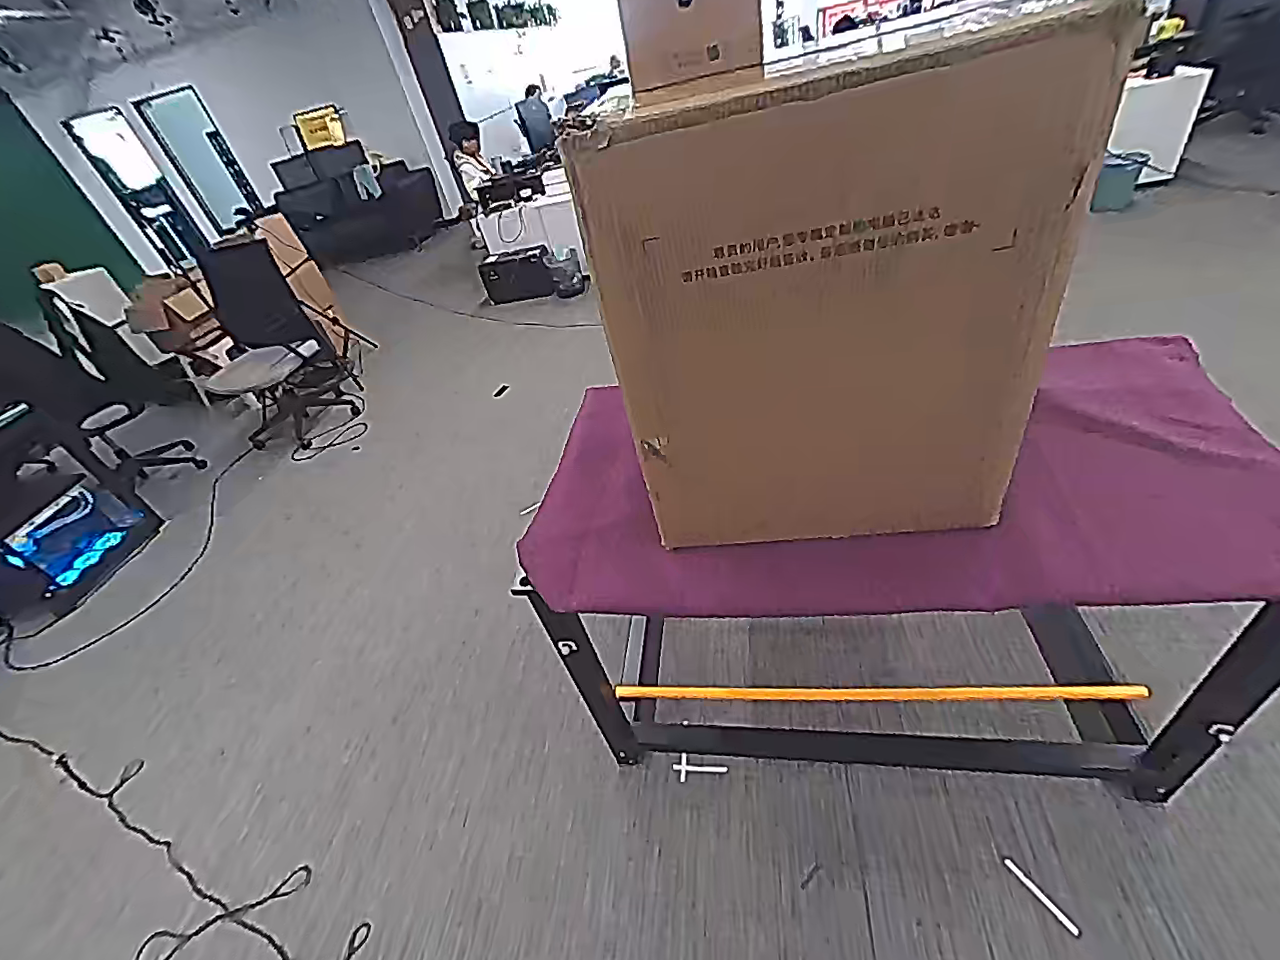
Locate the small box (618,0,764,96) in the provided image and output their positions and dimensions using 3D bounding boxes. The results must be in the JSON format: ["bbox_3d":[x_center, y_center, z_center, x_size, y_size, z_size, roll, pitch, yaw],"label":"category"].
[{"bbox_3d":[0.058,-0.600,0.677,0.168,0.176,0.179,-8,39,6],"label":"small box"}]
